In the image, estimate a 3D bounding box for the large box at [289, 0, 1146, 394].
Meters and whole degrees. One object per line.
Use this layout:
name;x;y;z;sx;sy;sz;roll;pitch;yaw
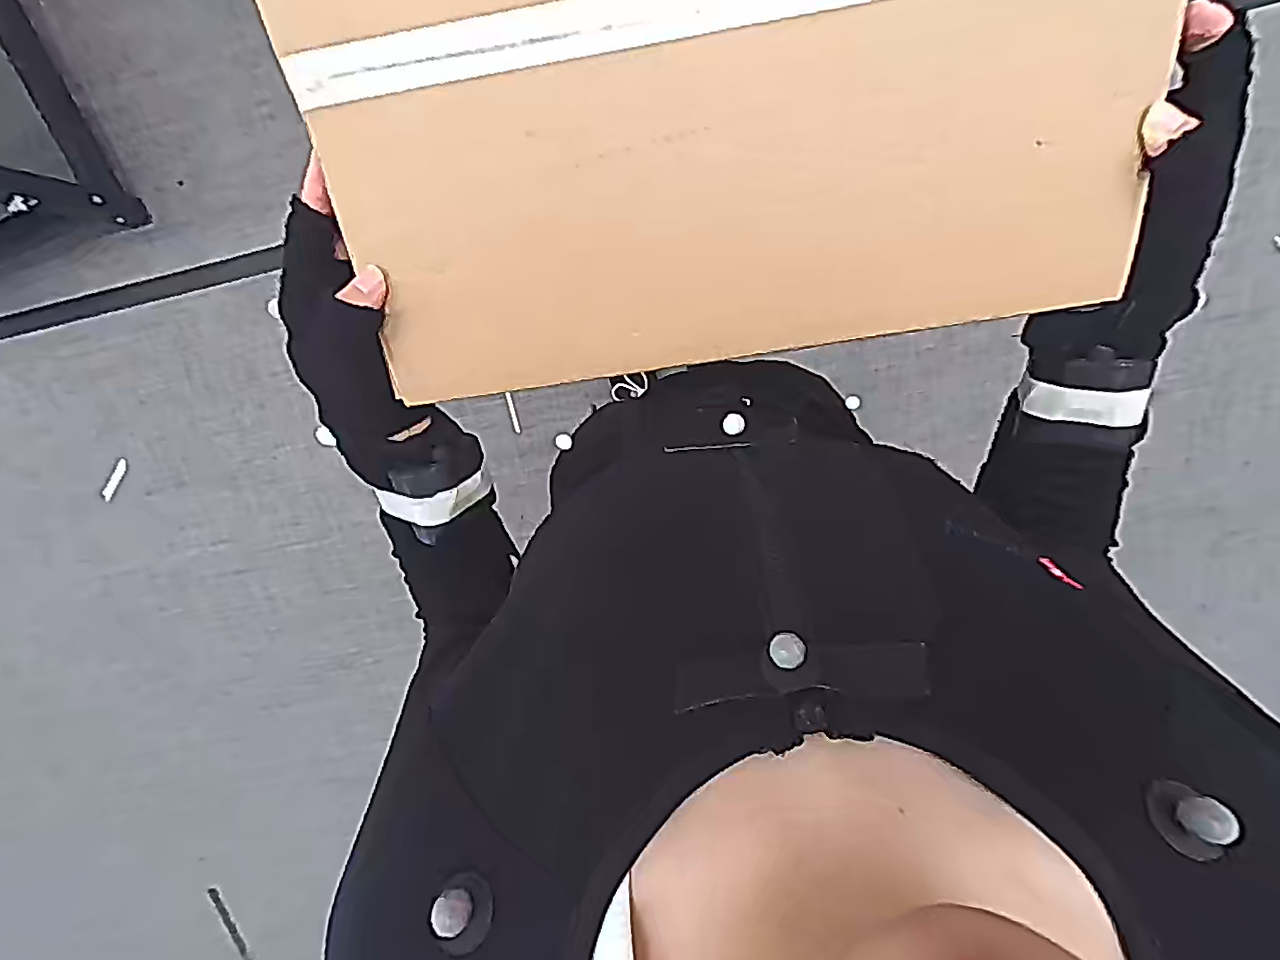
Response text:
large box;0.035;-0.278;0.392;0.408;0.320;0.320;-8;114;3
